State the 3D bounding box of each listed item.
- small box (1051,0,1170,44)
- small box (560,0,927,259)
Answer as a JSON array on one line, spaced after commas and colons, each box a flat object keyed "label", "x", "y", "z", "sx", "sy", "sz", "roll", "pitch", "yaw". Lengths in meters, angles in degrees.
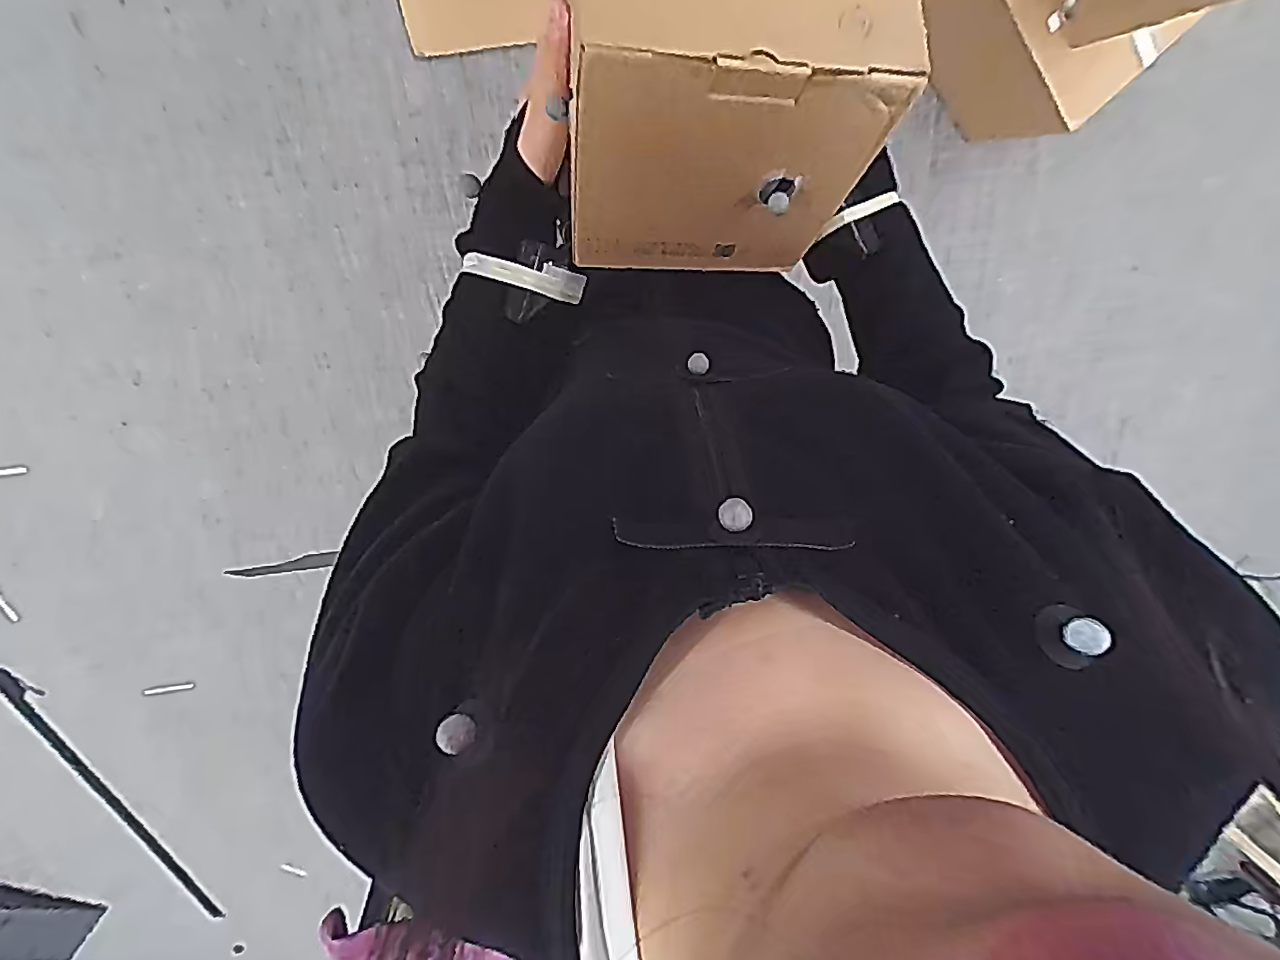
[{"label": "small box", "x": 0.771, "y": -0.825, "z": 0.823, "sx": 0.168, "sy": 0.176, "sz": 0.179, "roll": 38, "pitch": 108, "yaw": -23}, {"label": "small box", "x": 0.036, "y": -0.257, "z": 0.328, "sx": 0.168, "sy": 0.176, "sz": 0.179, "roll": -1, "pitch": 79, "yaw": -9}]
